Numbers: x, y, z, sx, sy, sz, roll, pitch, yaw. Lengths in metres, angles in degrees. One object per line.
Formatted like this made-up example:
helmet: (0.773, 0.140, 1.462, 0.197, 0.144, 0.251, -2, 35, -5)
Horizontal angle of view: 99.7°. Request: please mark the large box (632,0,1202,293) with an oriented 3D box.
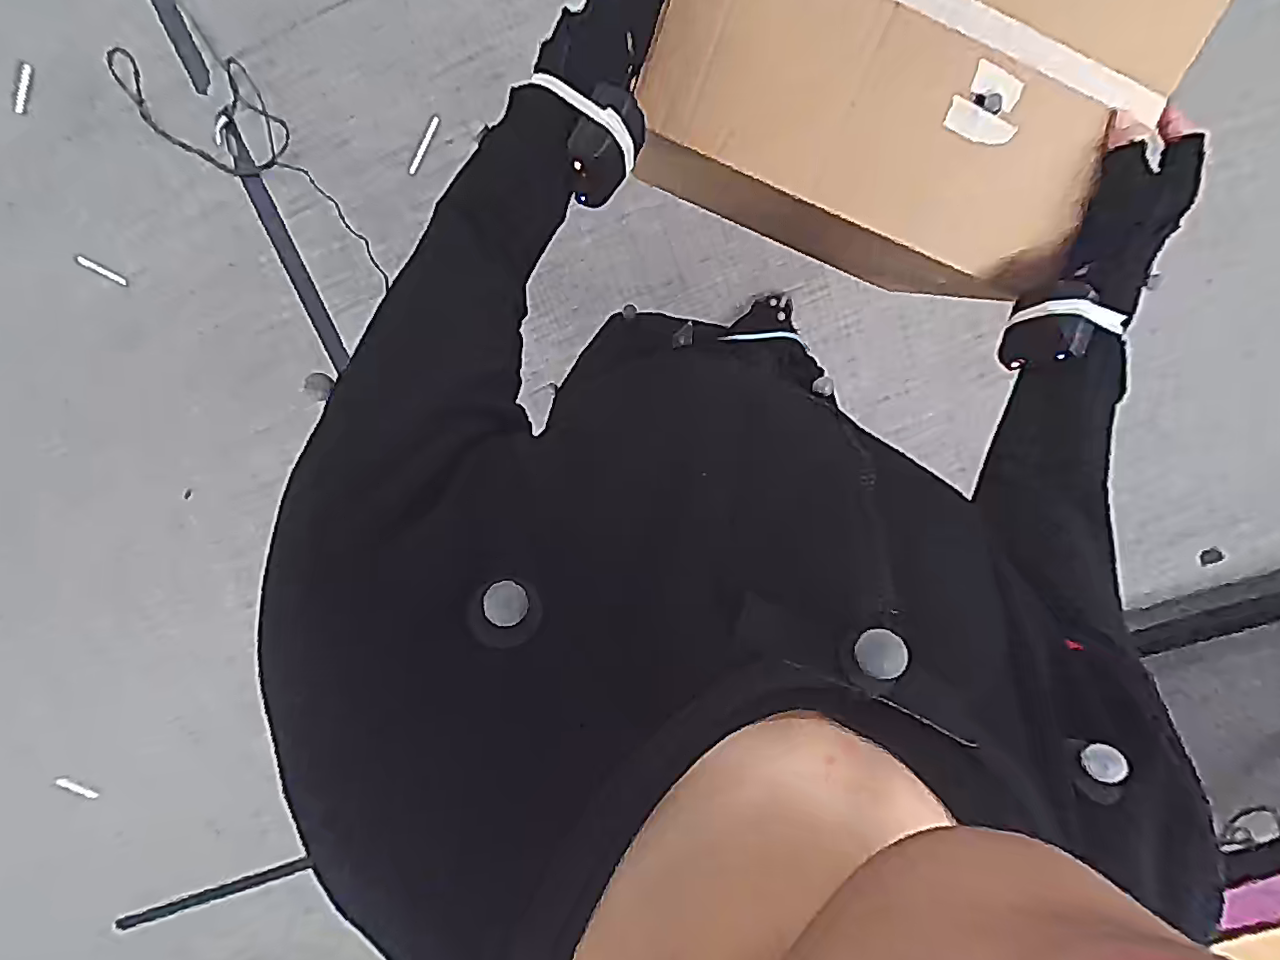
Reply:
large box: (0.227, -0.425, 0.570, 0.408, 0.320, 0.320, 20, 111, -9)
